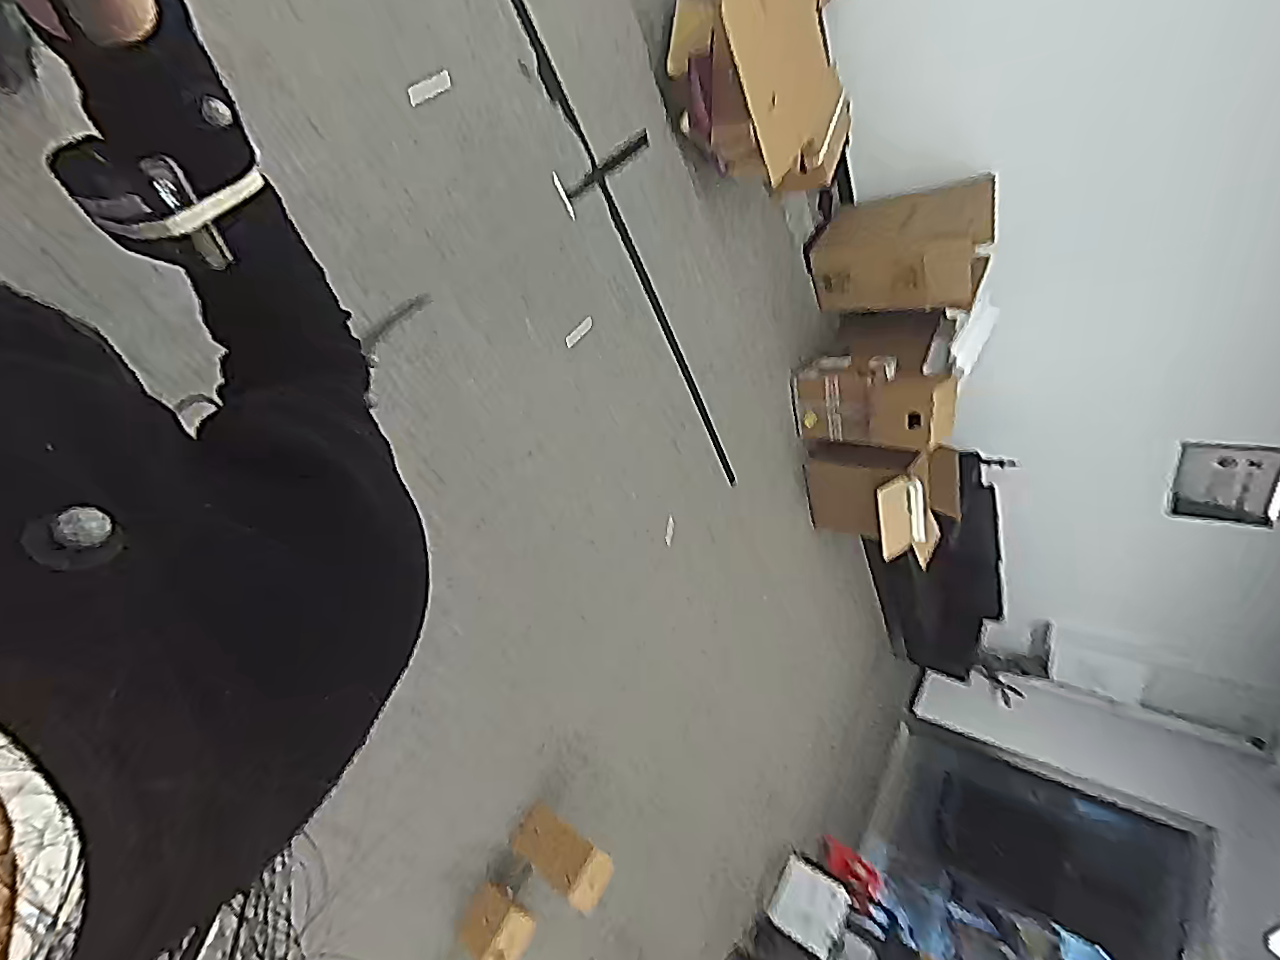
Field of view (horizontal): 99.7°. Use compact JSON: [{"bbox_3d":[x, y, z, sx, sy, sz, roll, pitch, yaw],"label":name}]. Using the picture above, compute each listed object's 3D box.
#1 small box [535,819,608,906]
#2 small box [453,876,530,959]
[{"bbox_3d":[-0.252,1.370,1.941,0.179,0.176,0.168,-53,133,-28],"label":"small box"},{"bbox_3d":[-0.532,1.556,1.911,0.179,0.176,0.168,-54,133,-28],"label":"small box"}]
